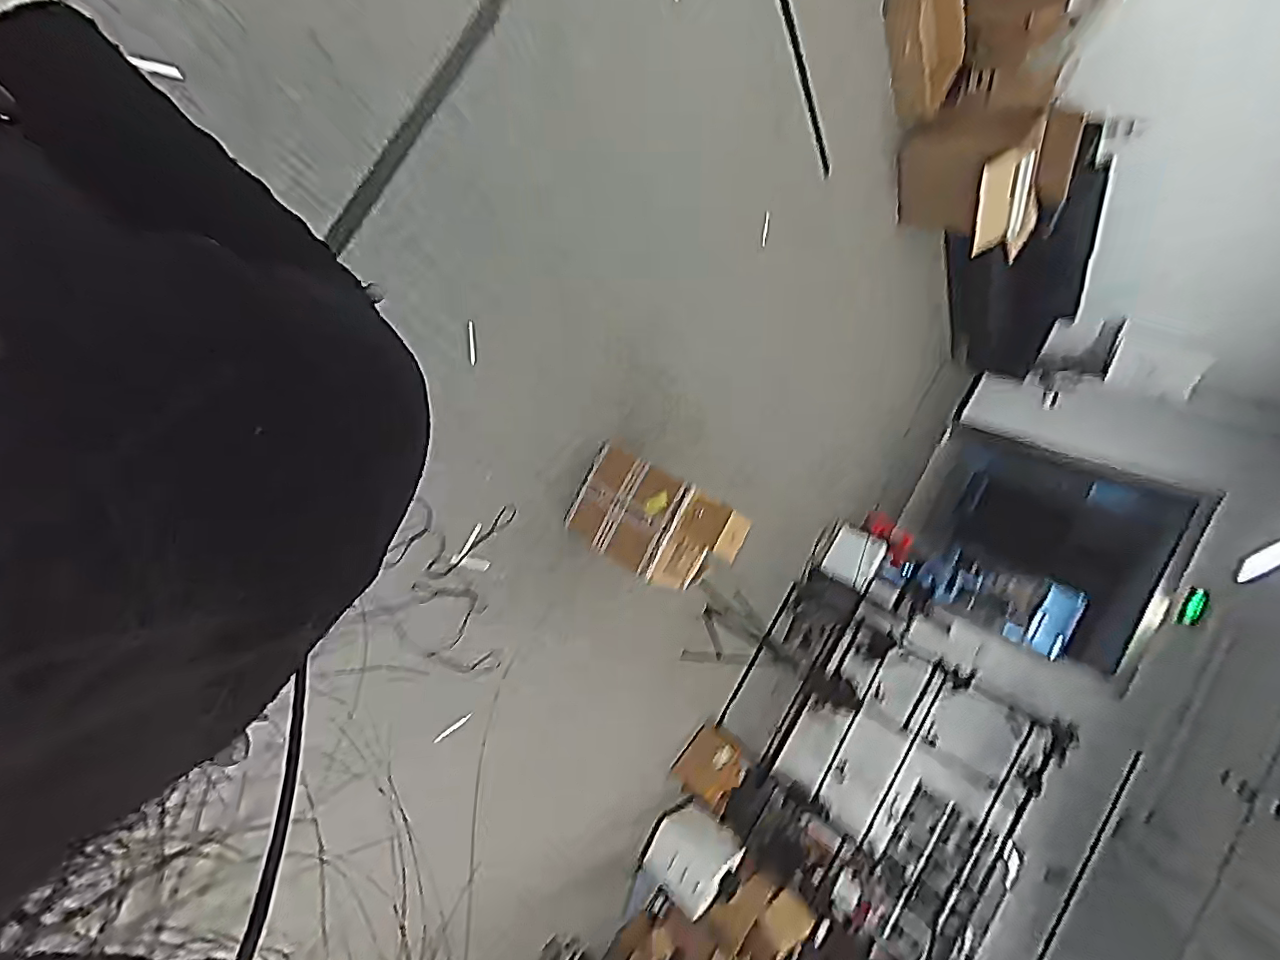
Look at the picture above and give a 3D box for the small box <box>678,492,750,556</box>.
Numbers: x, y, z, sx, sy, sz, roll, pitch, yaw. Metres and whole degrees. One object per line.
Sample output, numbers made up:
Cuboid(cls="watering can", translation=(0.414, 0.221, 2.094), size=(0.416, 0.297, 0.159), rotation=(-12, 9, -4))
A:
Cuboid(cls="small box", translation=(0.278, 0.164, 2.033), size=(0.179, 0.176, 0.168), rotation=(32, 84, -49))
